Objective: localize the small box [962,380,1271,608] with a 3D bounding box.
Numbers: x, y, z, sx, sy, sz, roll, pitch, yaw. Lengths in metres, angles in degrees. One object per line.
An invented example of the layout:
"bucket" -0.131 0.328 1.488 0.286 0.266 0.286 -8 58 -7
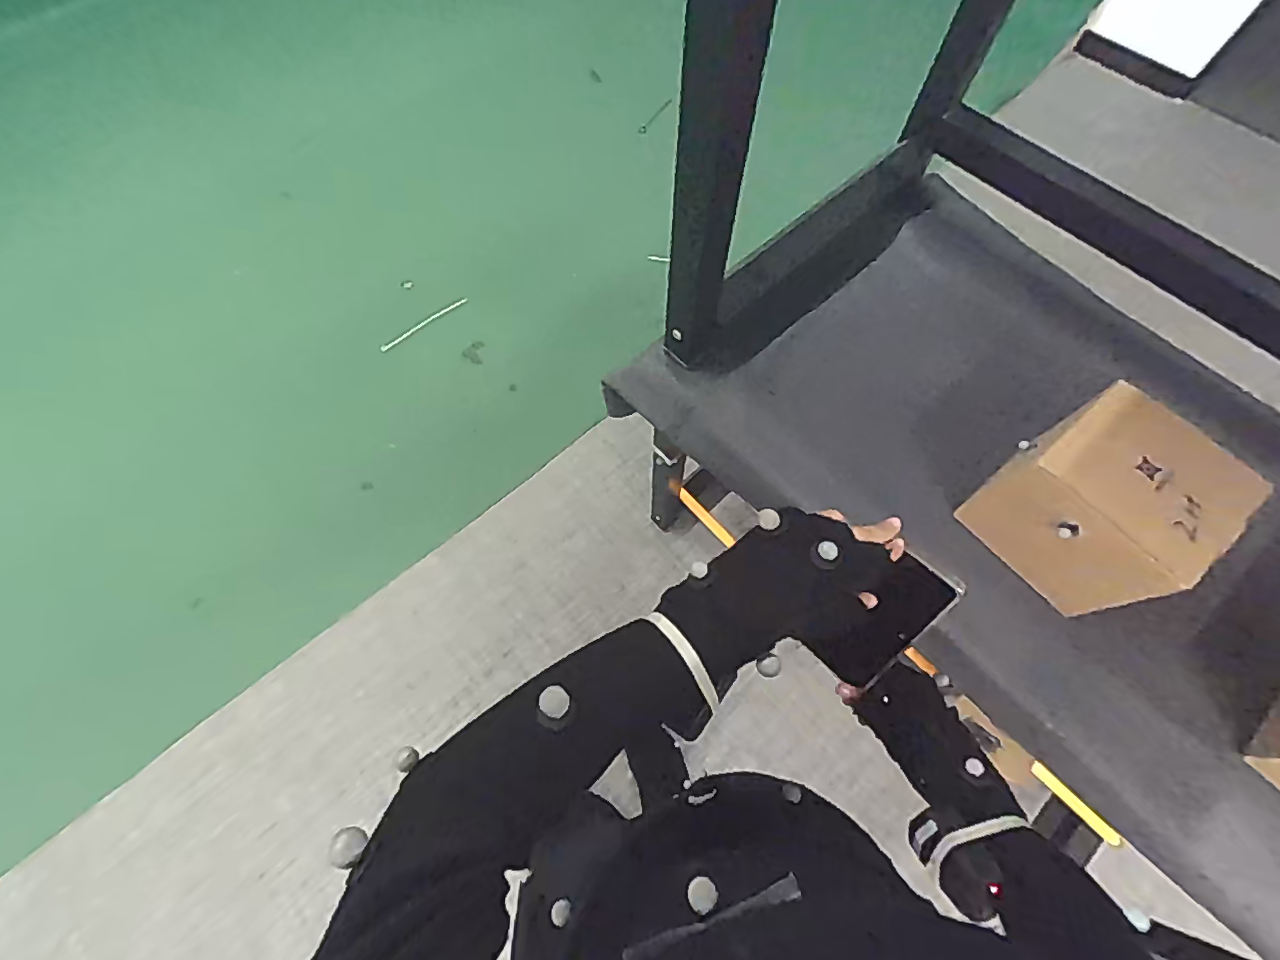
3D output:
"small box" 0.529 0.025 0.632 0.168 0.176 0.179 -37 71 -14

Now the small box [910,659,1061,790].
"small box" 0.689 0.495 1.107 0.179 0.176 0.168 -37 72 -14
